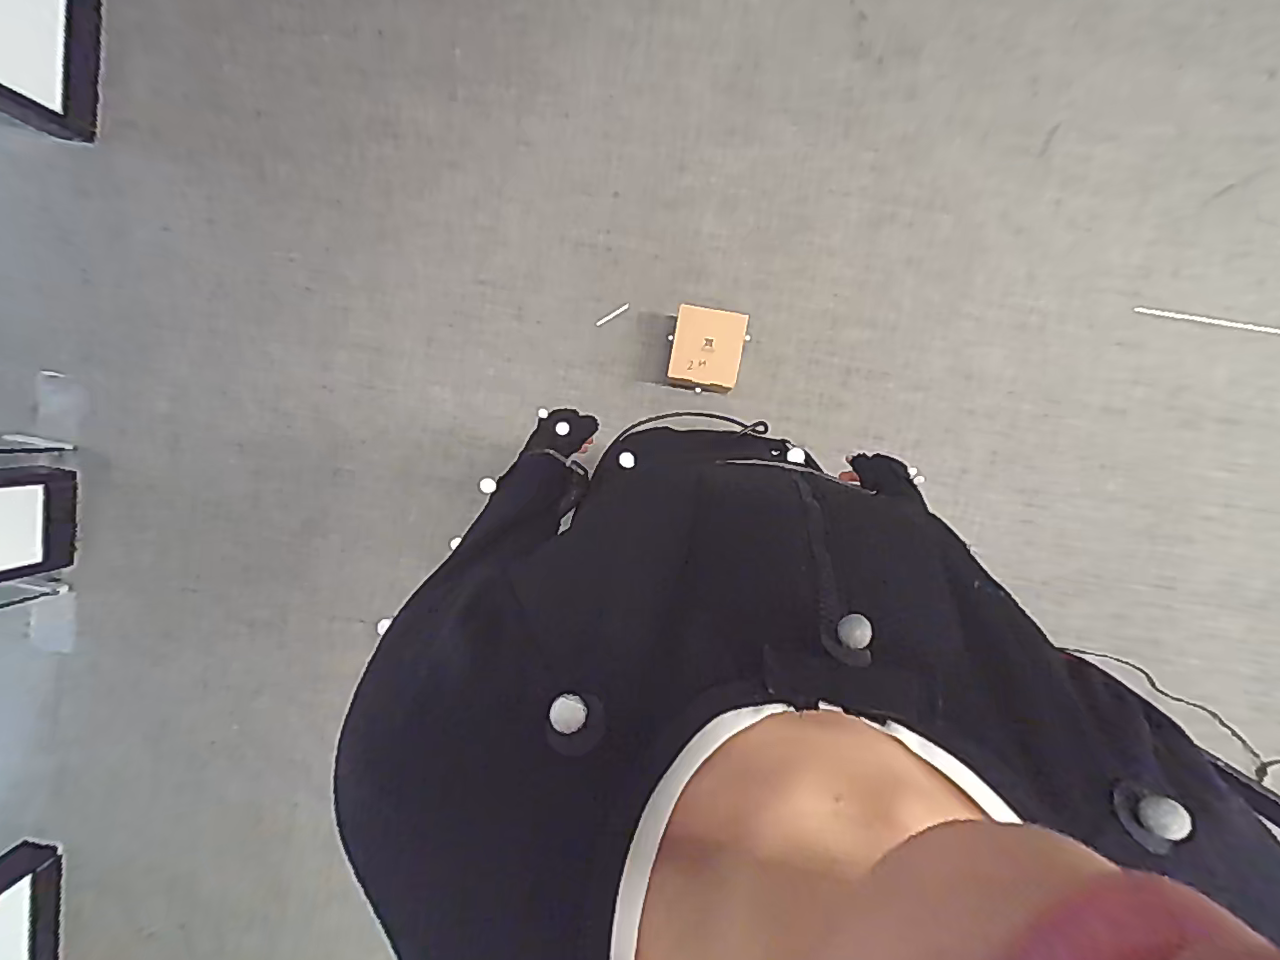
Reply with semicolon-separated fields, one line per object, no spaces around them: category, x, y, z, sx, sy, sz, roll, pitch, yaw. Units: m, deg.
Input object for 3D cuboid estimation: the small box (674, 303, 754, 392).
small box;0.178;-0.324;1.351;0.168;0.176;0.179;10;97;3
